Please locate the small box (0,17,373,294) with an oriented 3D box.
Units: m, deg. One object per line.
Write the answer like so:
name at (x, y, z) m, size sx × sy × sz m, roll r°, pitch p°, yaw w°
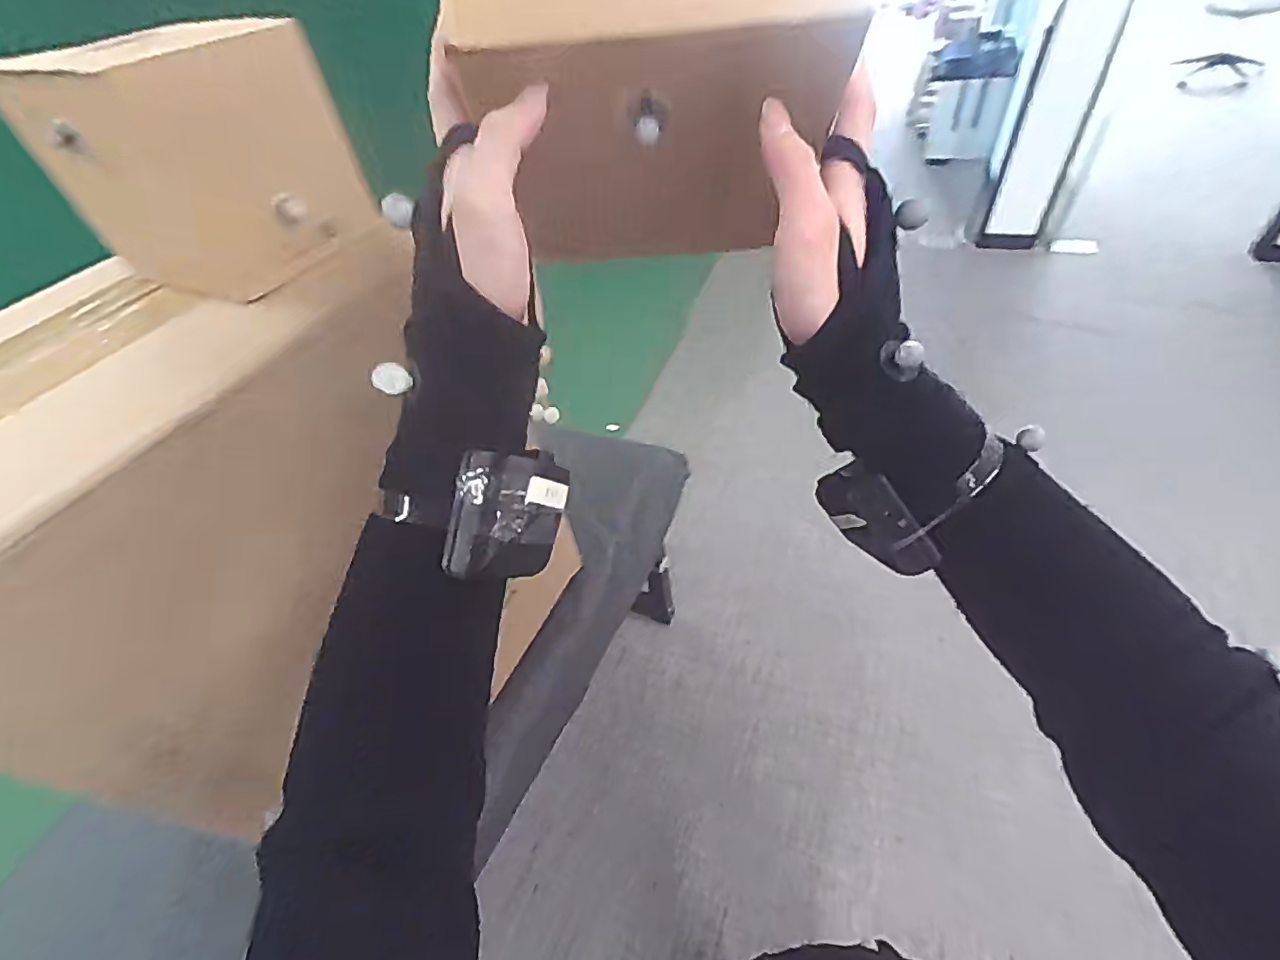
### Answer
small box at (-0.385, -0.286, 0.479) m, size 0.179 × 0.176 × 0.168 m, roll 17°, pitch 52°, yaw 19°
